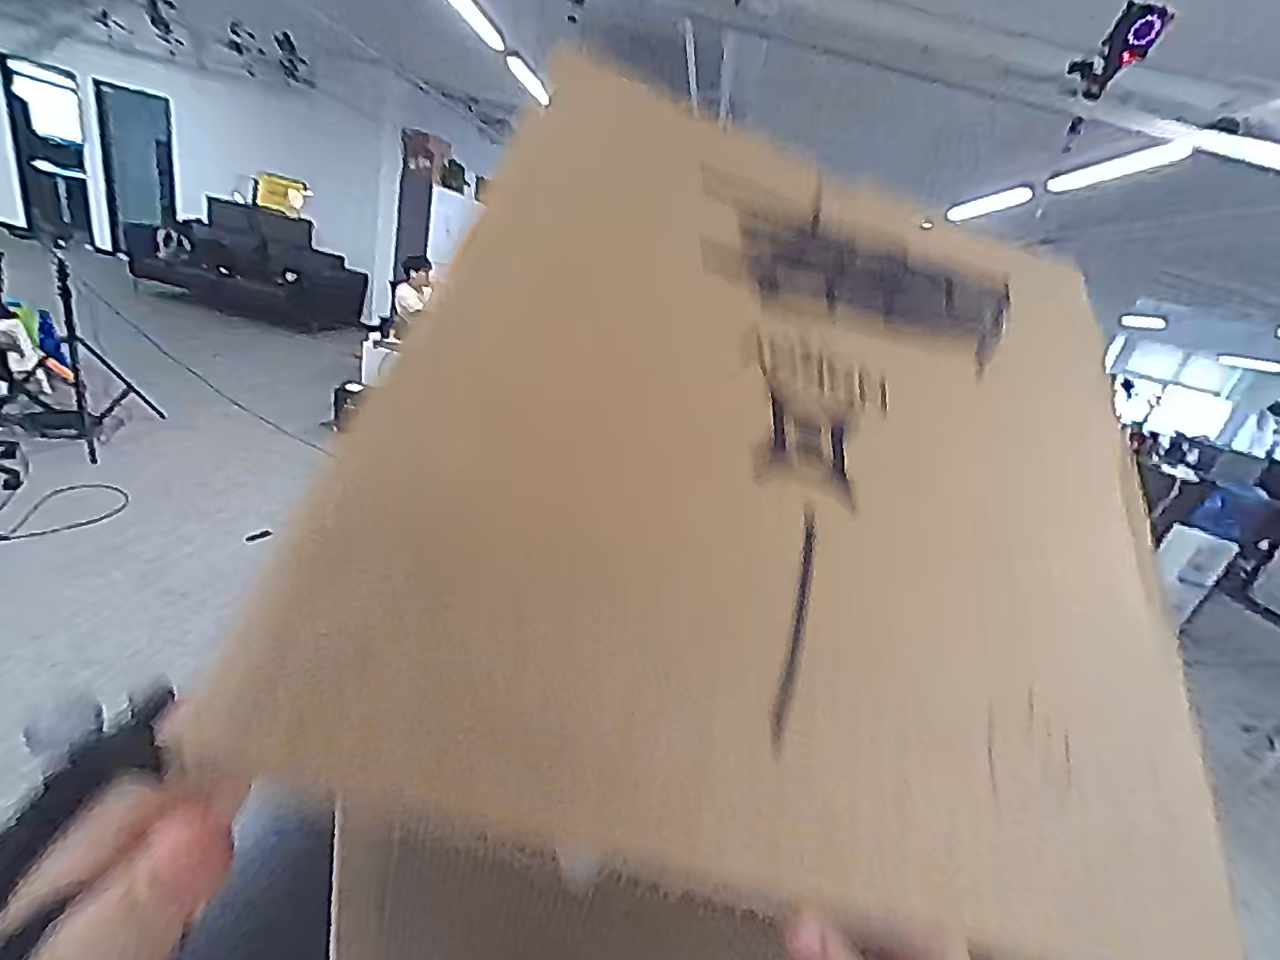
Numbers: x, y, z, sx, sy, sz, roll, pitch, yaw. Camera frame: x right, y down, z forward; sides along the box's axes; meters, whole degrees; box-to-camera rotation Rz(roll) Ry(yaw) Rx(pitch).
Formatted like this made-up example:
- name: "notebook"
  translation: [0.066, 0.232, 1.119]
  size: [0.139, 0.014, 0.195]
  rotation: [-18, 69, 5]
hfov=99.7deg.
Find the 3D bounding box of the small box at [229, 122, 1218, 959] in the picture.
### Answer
- name: "small box"
  translation: [0.018, 0.030, 0.190]
  size: [0.168, 0.176, 0.179]
  rotation: [18, 61, -6]
